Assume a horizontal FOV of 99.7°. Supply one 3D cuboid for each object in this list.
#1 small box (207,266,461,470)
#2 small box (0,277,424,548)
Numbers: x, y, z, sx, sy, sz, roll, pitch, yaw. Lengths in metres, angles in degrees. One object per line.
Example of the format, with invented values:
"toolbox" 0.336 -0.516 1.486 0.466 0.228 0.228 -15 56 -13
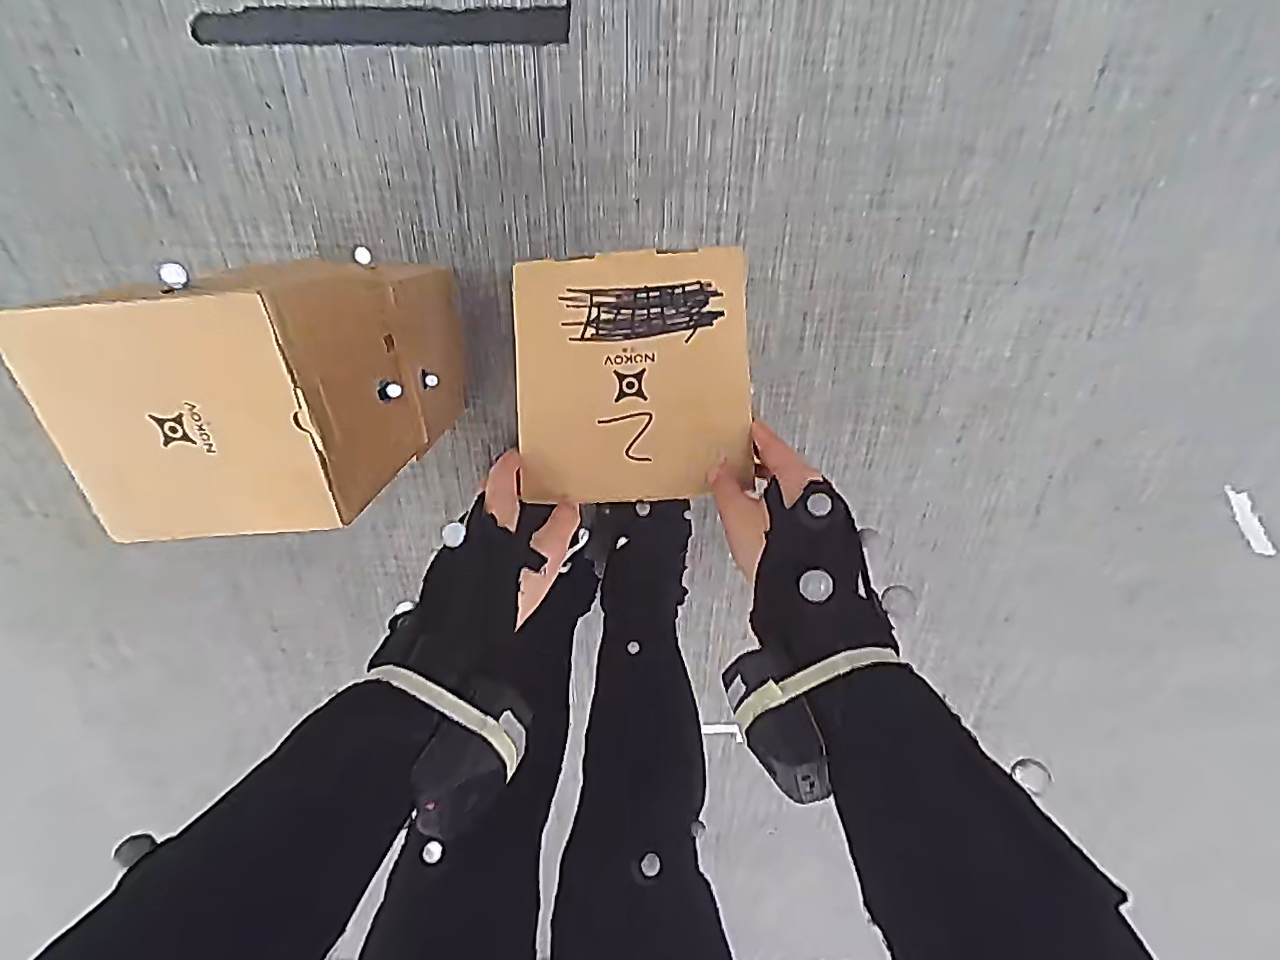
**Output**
"small box" -0.301 -0.126 0.581 0.168 0.176 0.179 2 115 -2
"small box" -0.302 -0.063 0.430 0.179 0.176 0.168 -5 116 1
